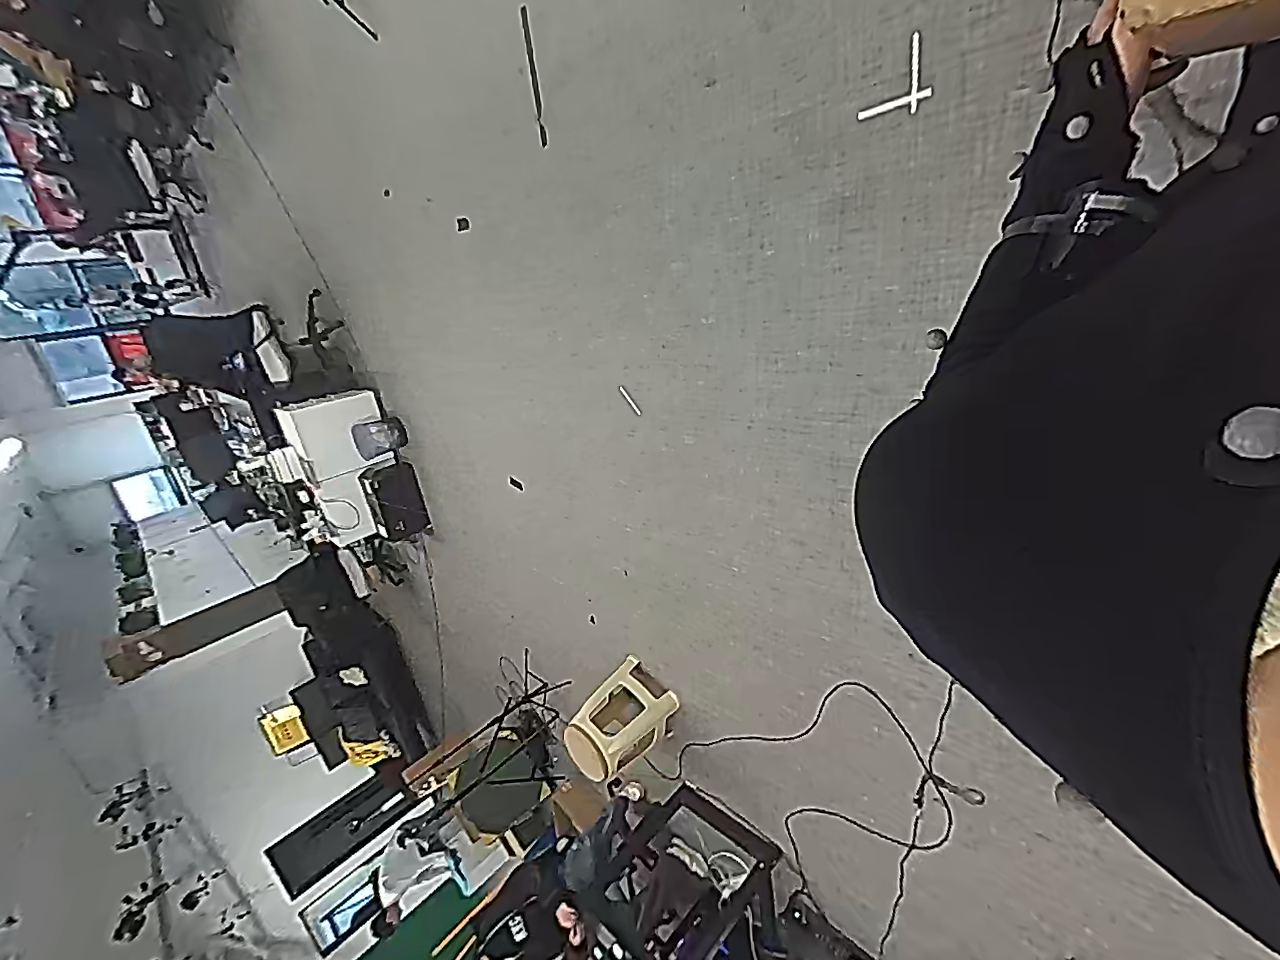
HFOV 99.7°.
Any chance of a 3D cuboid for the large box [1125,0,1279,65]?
[{"bbox_3d":[0.417,-0.357,0.130,0.408,0.320,0.320,13,125,41],"label":"large box"}]
